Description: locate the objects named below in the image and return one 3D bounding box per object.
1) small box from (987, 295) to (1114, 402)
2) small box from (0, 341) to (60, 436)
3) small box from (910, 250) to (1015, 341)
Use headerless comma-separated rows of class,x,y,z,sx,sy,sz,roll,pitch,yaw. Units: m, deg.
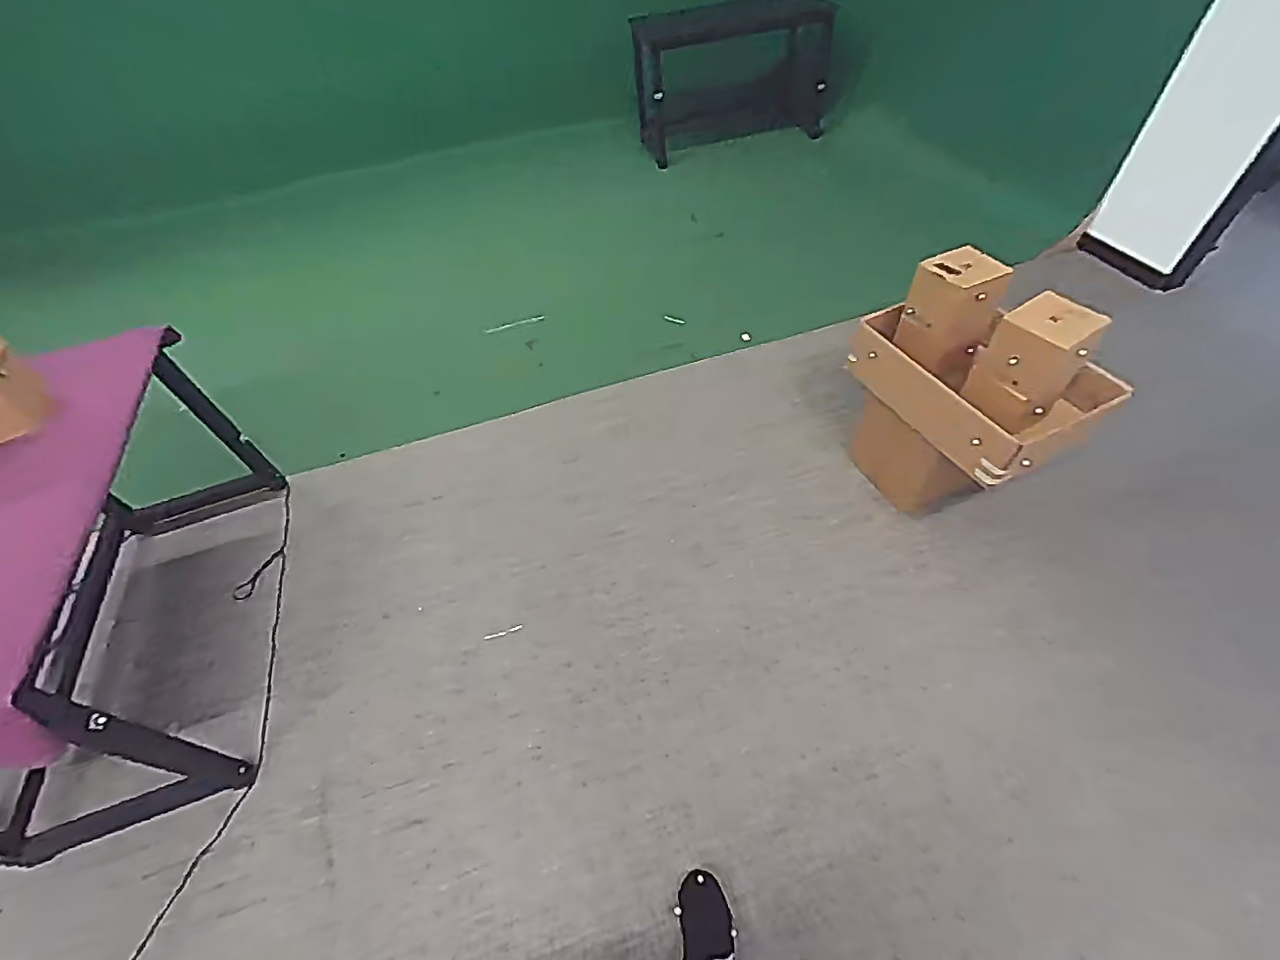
small box,1.014,-0.327,1.358,0.179,0.176,0.168,-28,54,-15
small box,-1.653,-0.217,1.364,0.179,0.176,0.168,-21,53,-10
small box,0.897,-0.518,1.529,0.179,0.176,0.168,-20,51,-11
